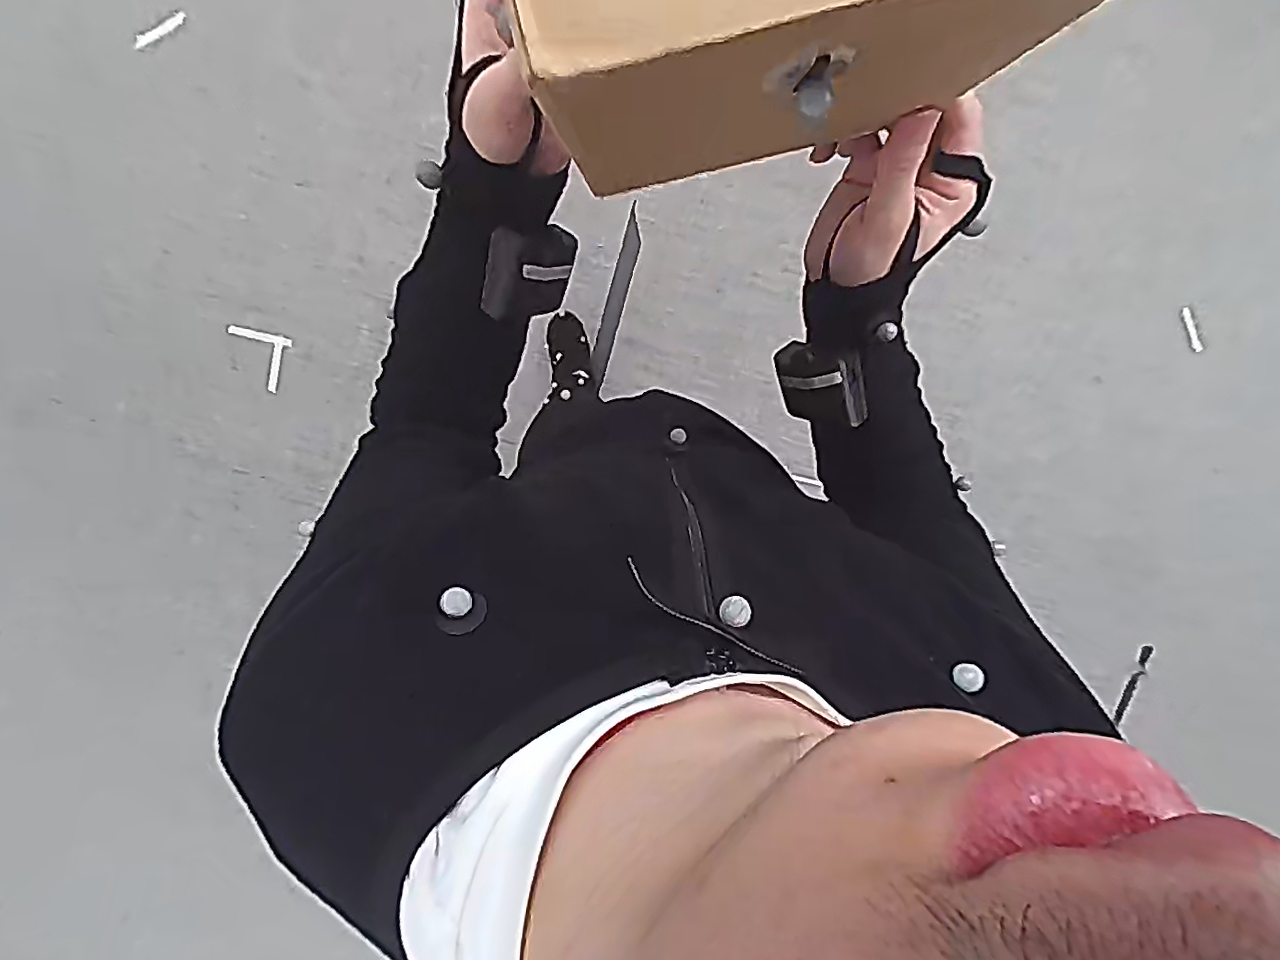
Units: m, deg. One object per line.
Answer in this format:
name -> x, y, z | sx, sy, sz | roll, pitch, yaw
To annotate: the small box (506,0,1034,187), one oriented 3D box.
small box -> 0.040, -0.224, 0.193 | 0.179, 0.176, 0.168 | -12, 109, 6
